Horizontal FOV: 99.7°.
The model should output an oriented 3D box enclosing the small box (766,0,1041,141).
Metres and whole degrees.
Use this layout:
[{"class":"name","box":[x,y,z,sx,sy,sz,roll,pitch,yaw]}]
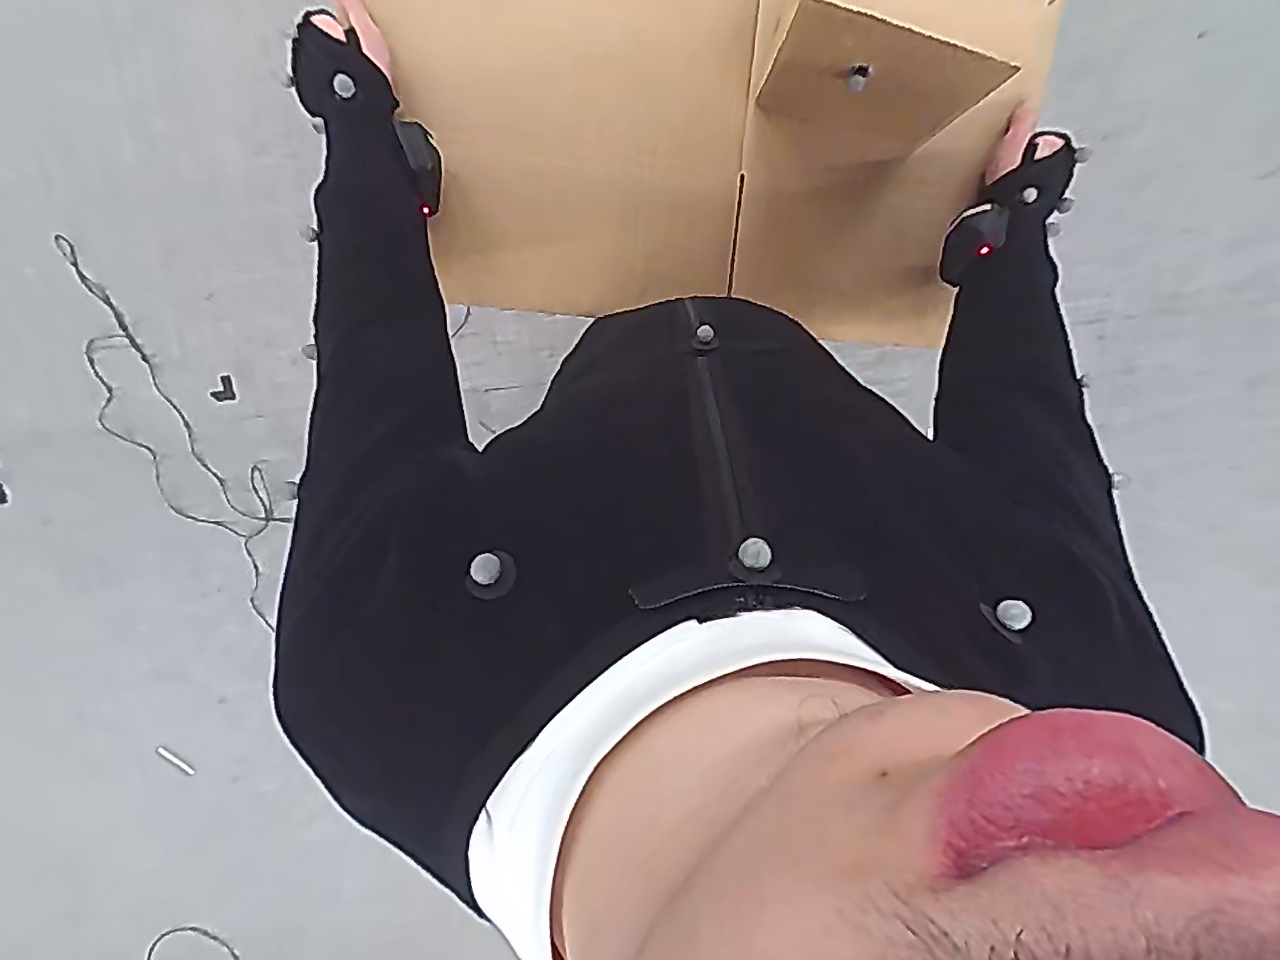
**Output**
[{"class":"small box","box":[0.225,-0.428,0.467,0.179,0.176,0.168,15,102,-3]}]
